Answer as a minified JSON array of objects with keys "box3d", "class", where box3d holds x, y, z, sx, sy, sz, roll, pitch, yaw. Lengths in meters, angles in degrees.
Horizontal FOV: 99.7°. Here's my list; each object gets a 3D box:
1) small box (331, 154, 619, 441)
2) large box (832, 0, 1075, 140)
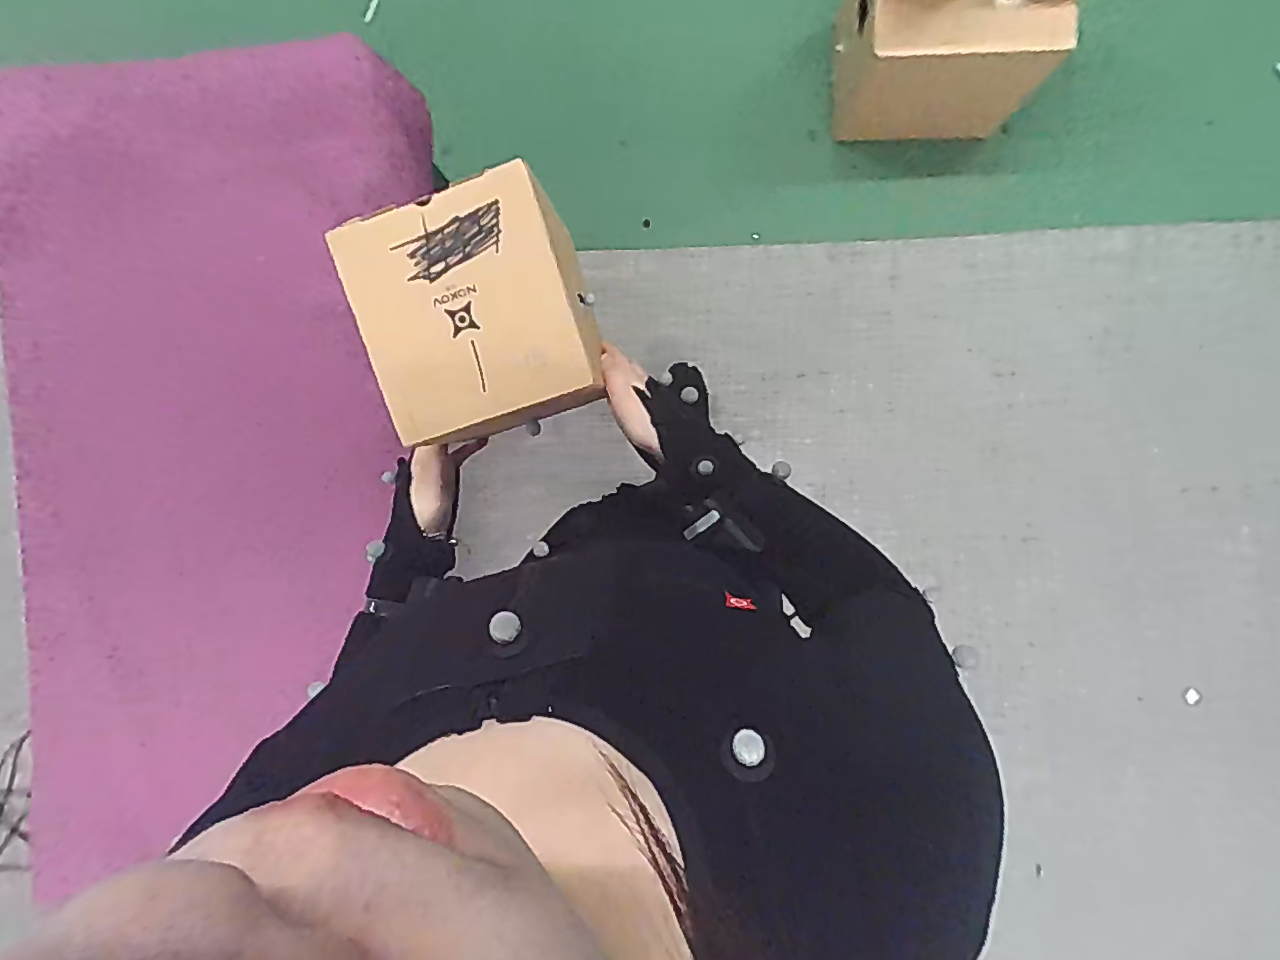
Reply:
[{"box3d":[-0.125,-0.141,0.482,0.168,0.176,0.179,-16,96,7],"class":"small box"},{"box3d":[0.691,-1.035,1.253,0.408,0.320,0.320,0,93,3],"class":"large box"}]
